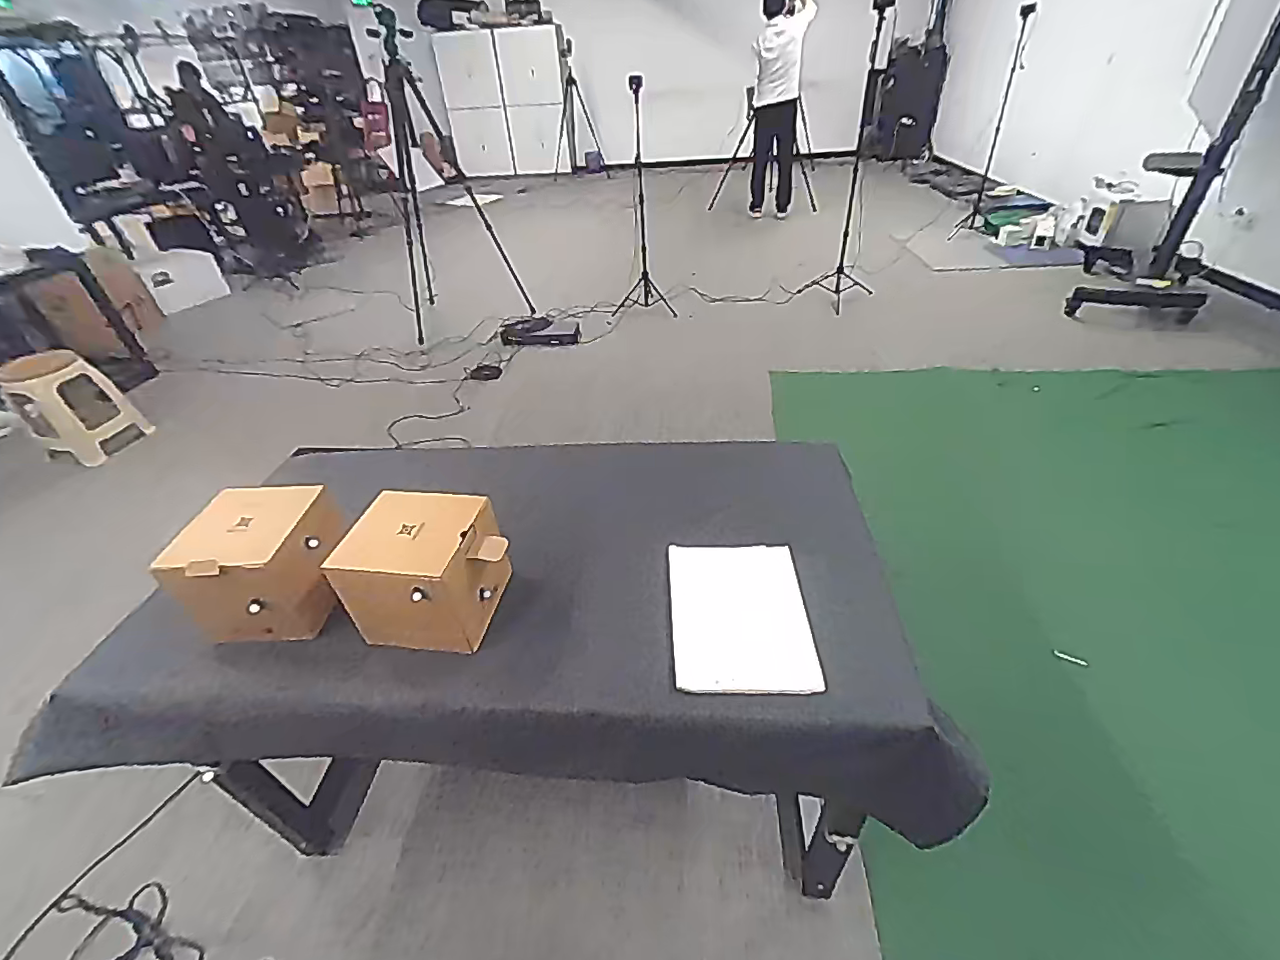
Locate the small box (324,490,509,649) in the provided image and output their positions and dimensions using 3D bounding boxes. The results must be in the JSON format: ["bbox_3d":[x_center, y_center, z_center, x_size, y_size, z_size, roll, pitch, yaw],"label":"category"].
[{"bbox_3d":[-0.318,0.133,0.810,0.179,0.176,0.168,3,38,8],"label":"small box"}]

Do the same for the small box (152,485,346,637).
[{"bbox_3d":[-0.575,0.128,0.841,0.168,0.176,0.179,-2,36,1],"label":"small box"}]
